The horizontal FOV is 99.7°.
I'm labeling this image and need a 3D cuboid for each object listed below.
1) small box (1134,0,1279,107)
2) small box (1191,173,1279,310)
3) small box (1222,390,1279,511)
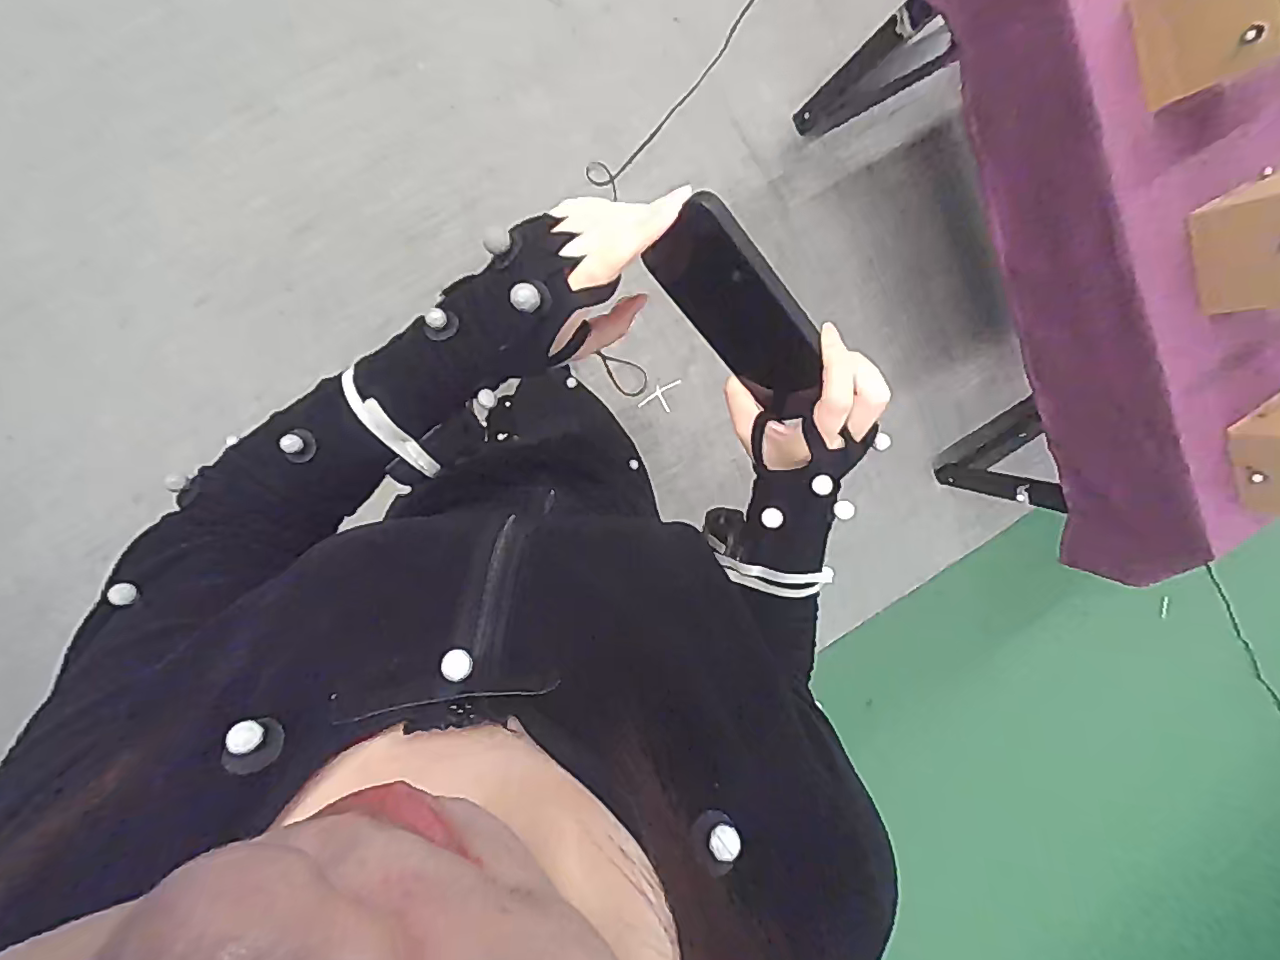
[{"bbox_3d":[0.845,-0.676,0.755,0.168,0.176,0.179,-29,106,-6],"label":"small box"},{"bbox_3d":[1.025,-0.386,0.847,0.168,0.176,0.179,-28,106,-6],"label":"small box"},{"bbox_3d":[1.191,-0.047,0.946,0.168,0.176,0.179,-32,105,-5],"label":"small box"}]
